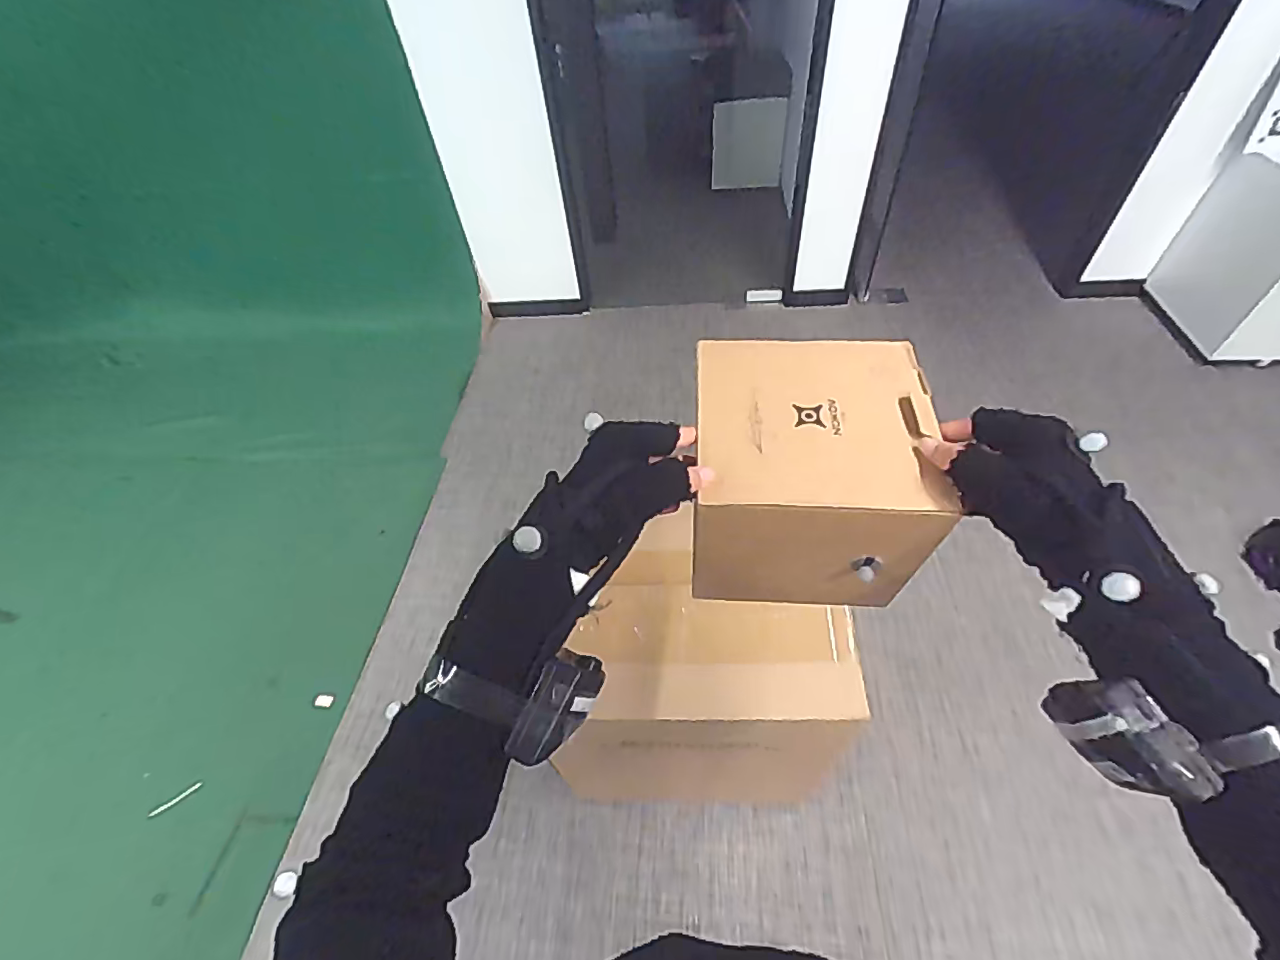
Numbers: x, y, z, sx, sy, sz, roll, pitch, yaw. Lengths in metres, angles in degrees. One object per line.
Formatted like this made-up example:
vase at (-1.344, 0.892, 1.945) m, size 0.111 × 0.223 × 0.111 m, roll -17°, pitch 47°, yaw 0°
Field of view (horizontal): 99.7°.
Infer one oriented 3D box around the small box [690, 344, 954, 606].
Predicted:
small box at (0.133, 0.002, 0.474) m, size 0.179 × 0.176 × 0.168 m, roll -1°, pitch 54°, yaw 6°
